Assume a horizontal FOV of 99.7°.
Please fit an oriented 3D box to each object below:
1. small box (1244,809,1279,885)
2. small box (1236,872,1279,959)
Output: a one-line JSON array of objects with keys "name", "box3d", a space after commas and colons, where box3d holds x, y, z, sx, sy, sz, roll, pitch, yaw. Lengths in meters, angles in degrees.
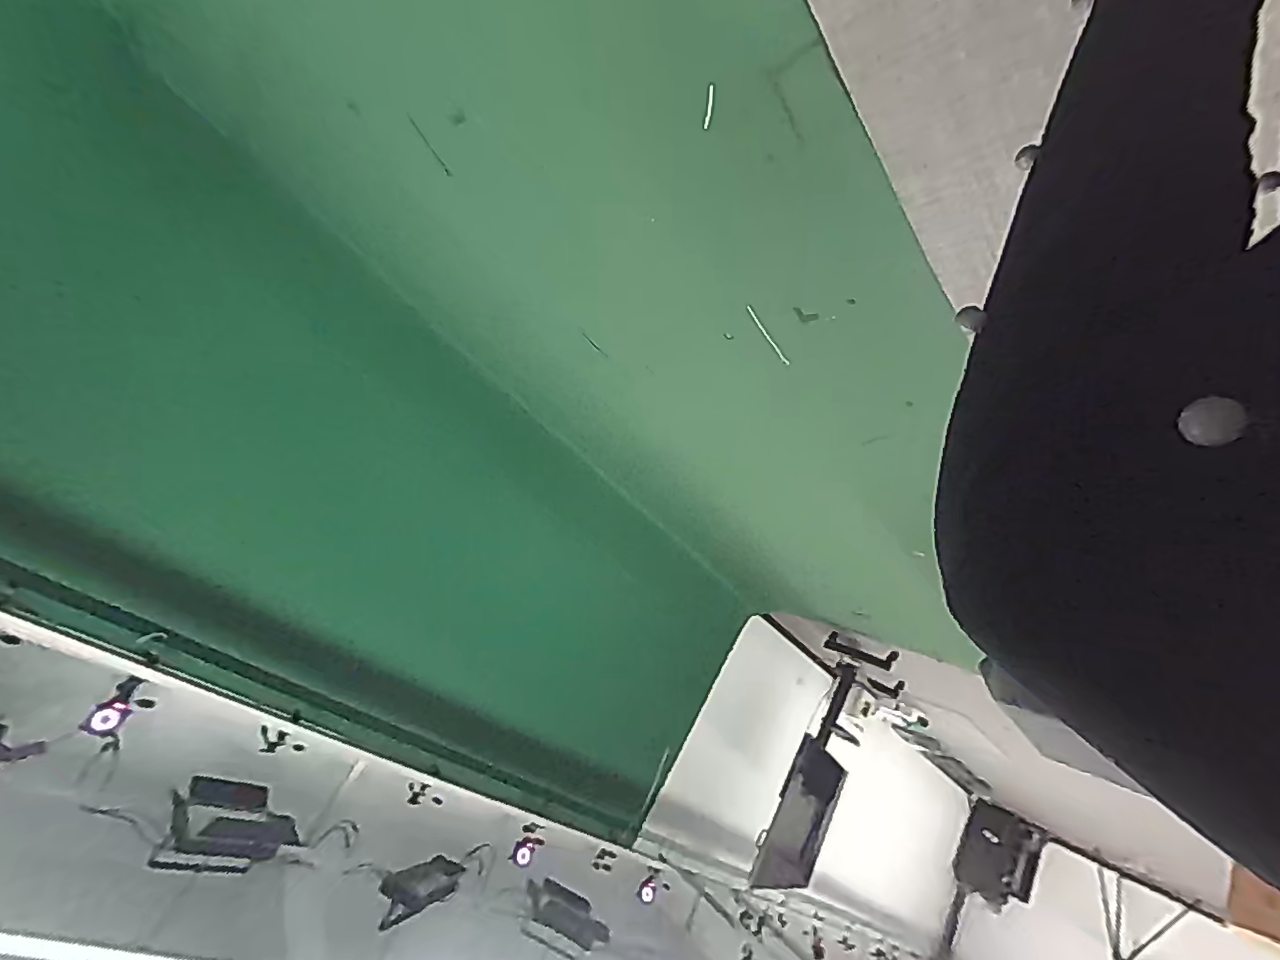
[{"name": "small box", "box3d": [1.738, 1.009, 1.420, 0.168, 0.176, 0.179, 43, 160, -27]}, {"name": "small box", "box3d": [1.657, 1.143, 1.373, 0.179, 0.176, 0.168, 43, 159, -26]}]
